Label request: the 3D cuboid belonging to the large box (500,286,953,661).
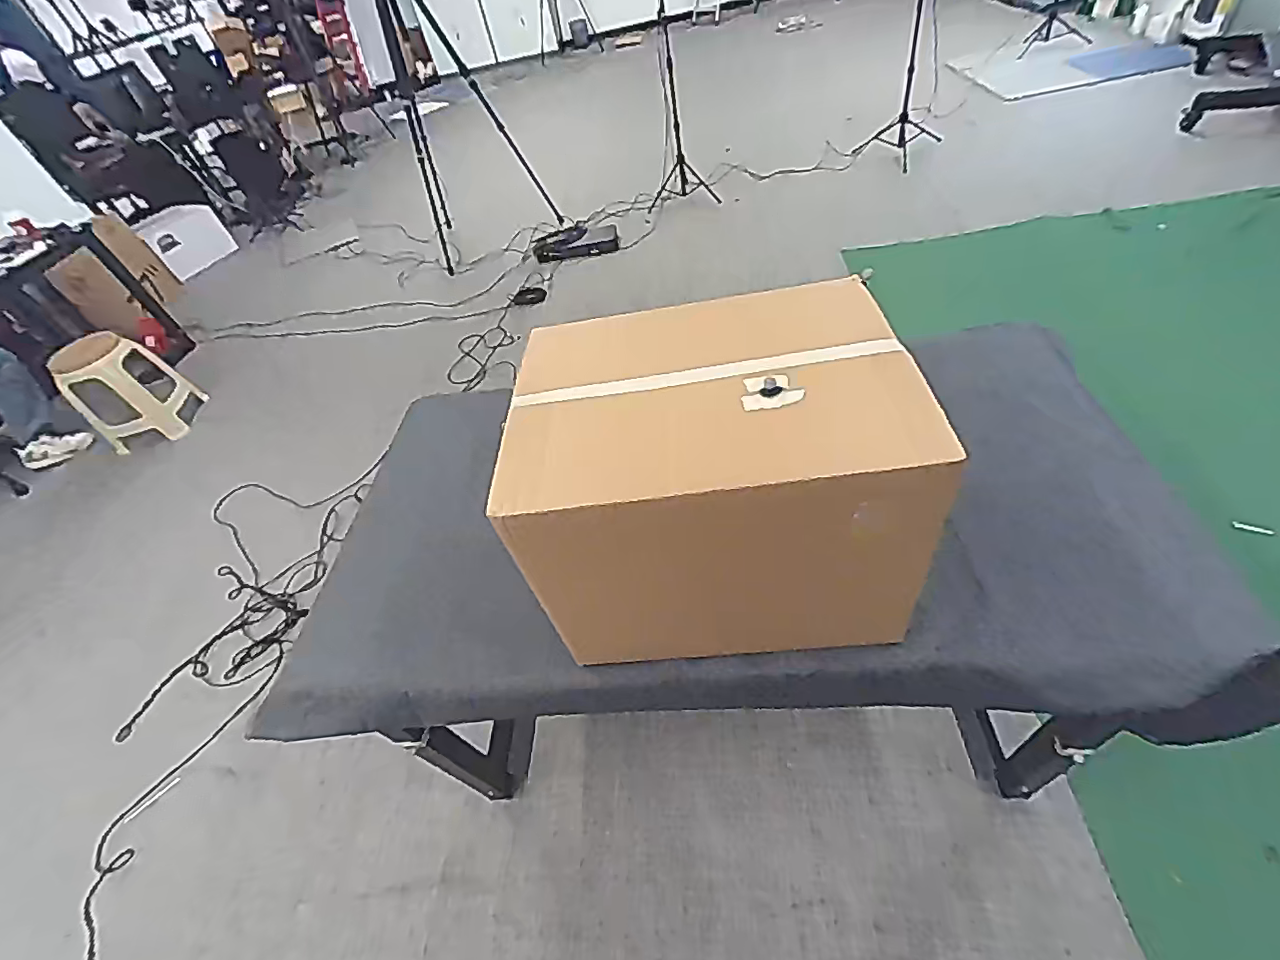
[{"bbox_3d":[0.088,0.001,0.675,0.408,0.320,0.320,-7,46,7],"label":"large box"}]
